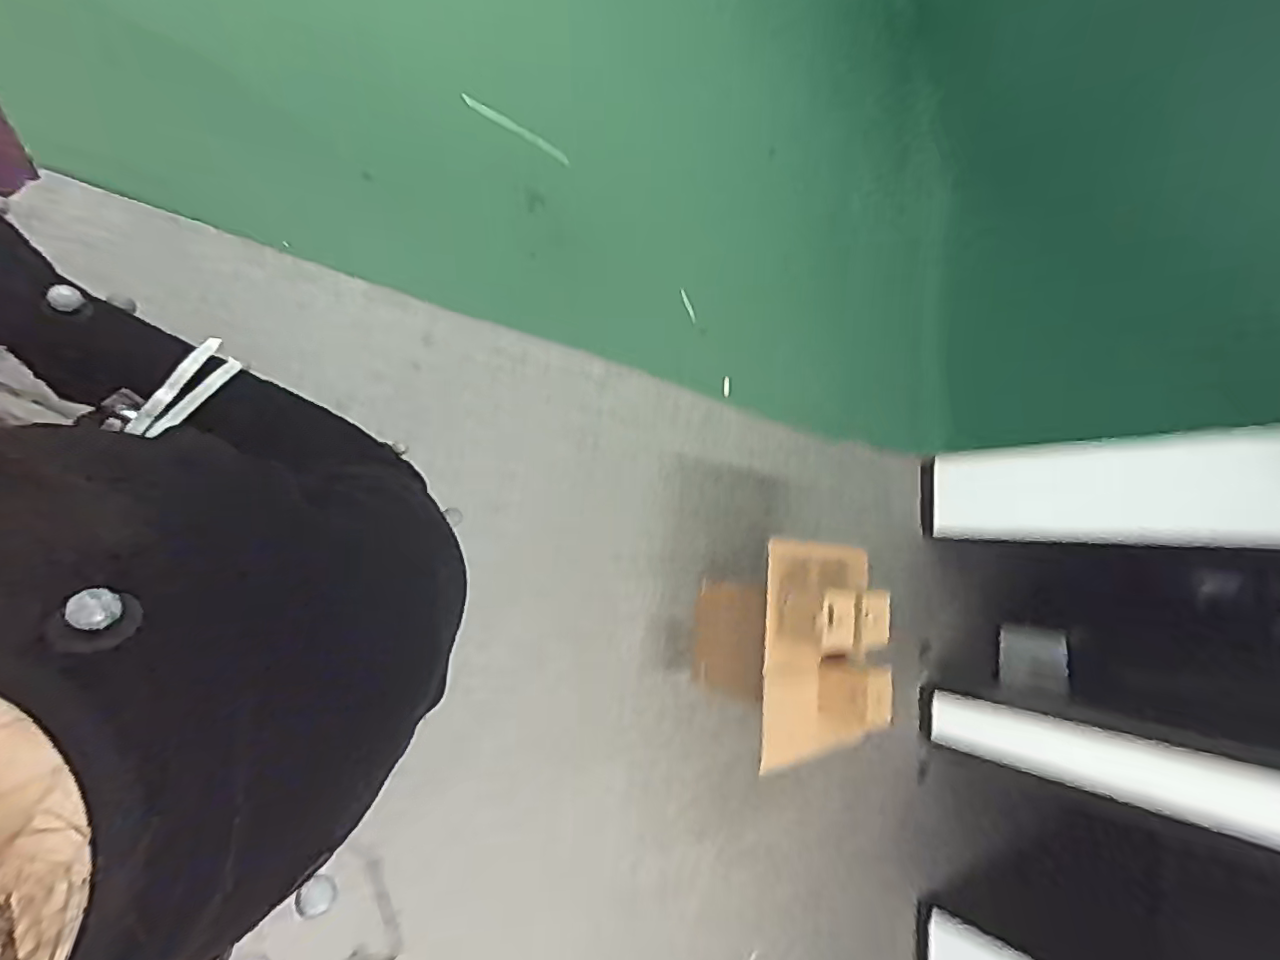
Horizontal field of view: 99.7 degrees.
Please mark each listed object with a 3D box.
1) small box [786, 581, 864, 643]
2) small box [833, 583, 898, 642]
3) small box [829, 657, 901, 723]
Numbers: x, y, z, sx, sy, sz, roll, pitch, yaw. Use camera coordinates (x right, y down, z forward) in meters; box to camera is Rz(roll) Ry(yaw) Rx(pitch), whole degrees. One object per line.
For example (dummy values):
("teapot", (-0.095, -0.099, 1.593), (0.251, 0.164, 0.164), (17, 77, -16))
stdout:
("small box", (0.570, 0.407, 1.674), (0.179, 0.176, 0.168), (10, 81, -38))
("small box", (0.743, 0.437, 1.811), (0.179, 0.176, 0.168), (7, 83, -39))
("small box", (0.748, 0.690, 1.801), (0.168, 0.176, 0.179), (12, 79, -37))
